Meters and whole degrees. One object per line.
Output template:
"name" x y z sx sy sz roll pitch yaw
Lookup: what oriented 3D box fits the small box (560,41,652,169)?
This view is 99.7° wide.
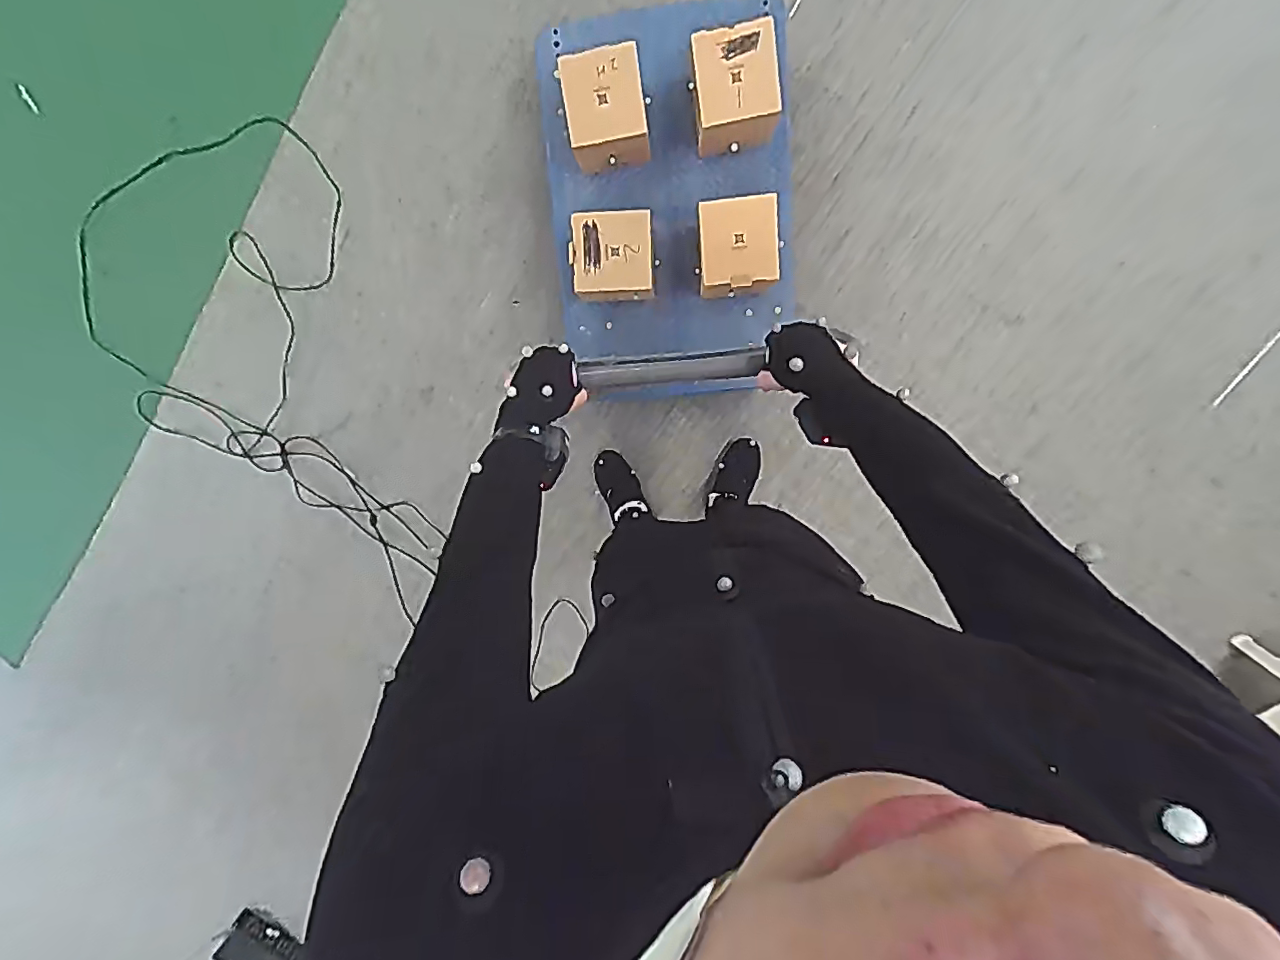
"small box" -0.068 -0.810 1.192 0.168 0.176 0.179 -8 101 5

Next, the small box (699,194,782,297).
"small box" 0.224 -0.525 1.231 0.168 0.176 0.179 -4 101 6

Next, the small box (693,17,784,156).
"small box" 0.206 -0.836 1.167 0.168 0.176 0.179 -8 102 6
